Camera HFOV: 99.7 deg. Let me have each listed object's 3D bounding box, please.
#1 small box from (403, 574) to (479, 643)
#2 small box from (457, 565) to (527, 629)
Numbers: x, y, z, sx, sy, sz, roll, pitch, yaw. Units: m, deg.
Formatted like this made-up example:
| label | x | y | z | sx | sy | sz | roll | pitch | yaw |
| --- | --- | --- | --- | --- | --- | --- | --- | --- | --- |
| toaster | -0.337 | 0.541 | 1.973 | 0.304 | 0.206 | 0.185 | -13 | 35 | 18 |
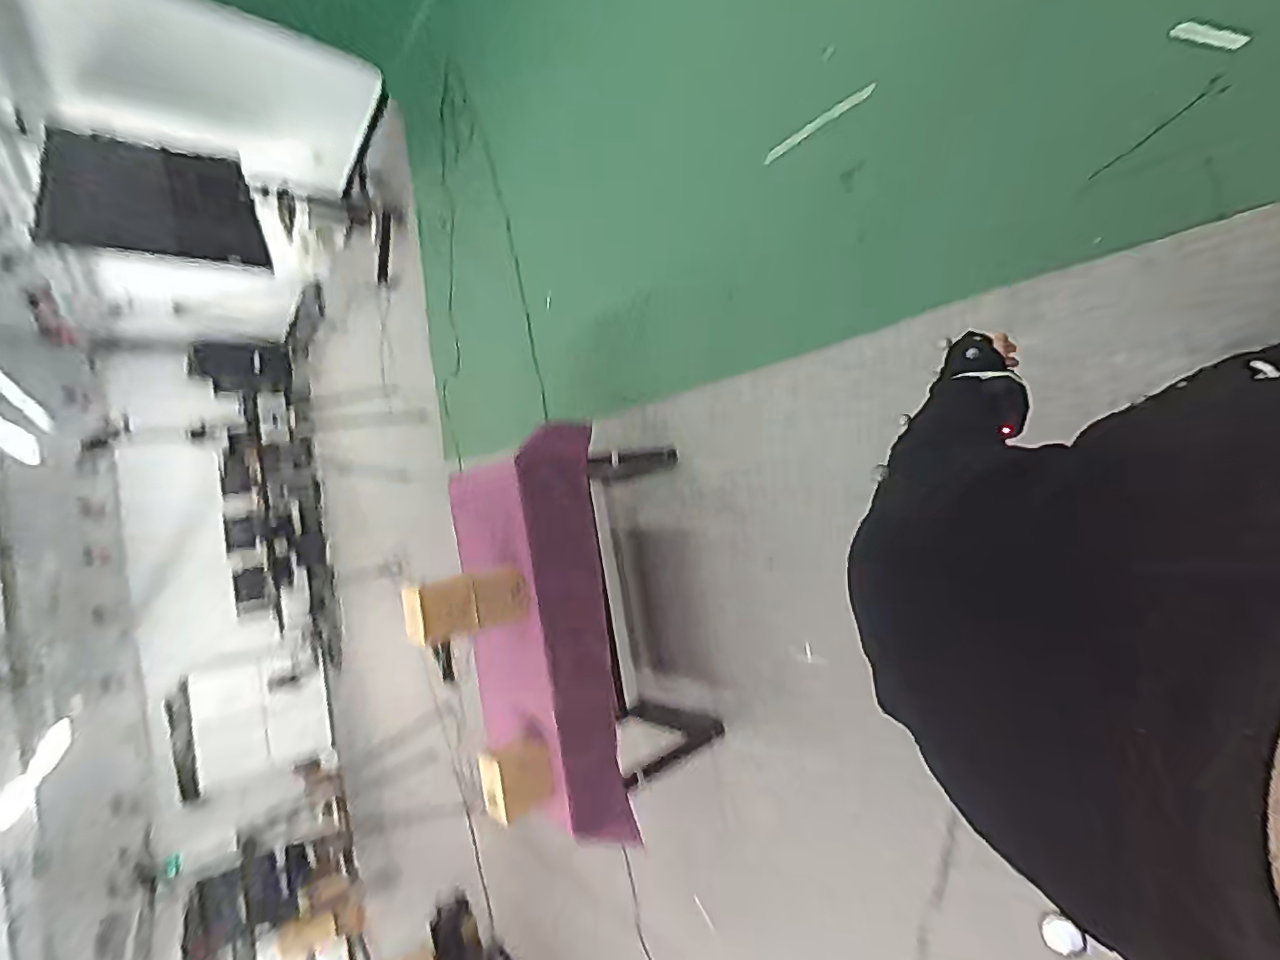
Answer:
| label | x | y | z | sx | sy | sz | roll | pitch | yaw |
| --- | --- | --- | --- | --- | --- | --- | --- | --- | --- |
| small box | -0.617 | 0.391 | 1.678 | 0.179 | 0.176 | 0.168 | -8 | 89 | 50 |
| small box | -0.491 | 0.378 | 1.782 | 0.179 | 0.176 | 0.168 | -8 | 90 | 50 |
